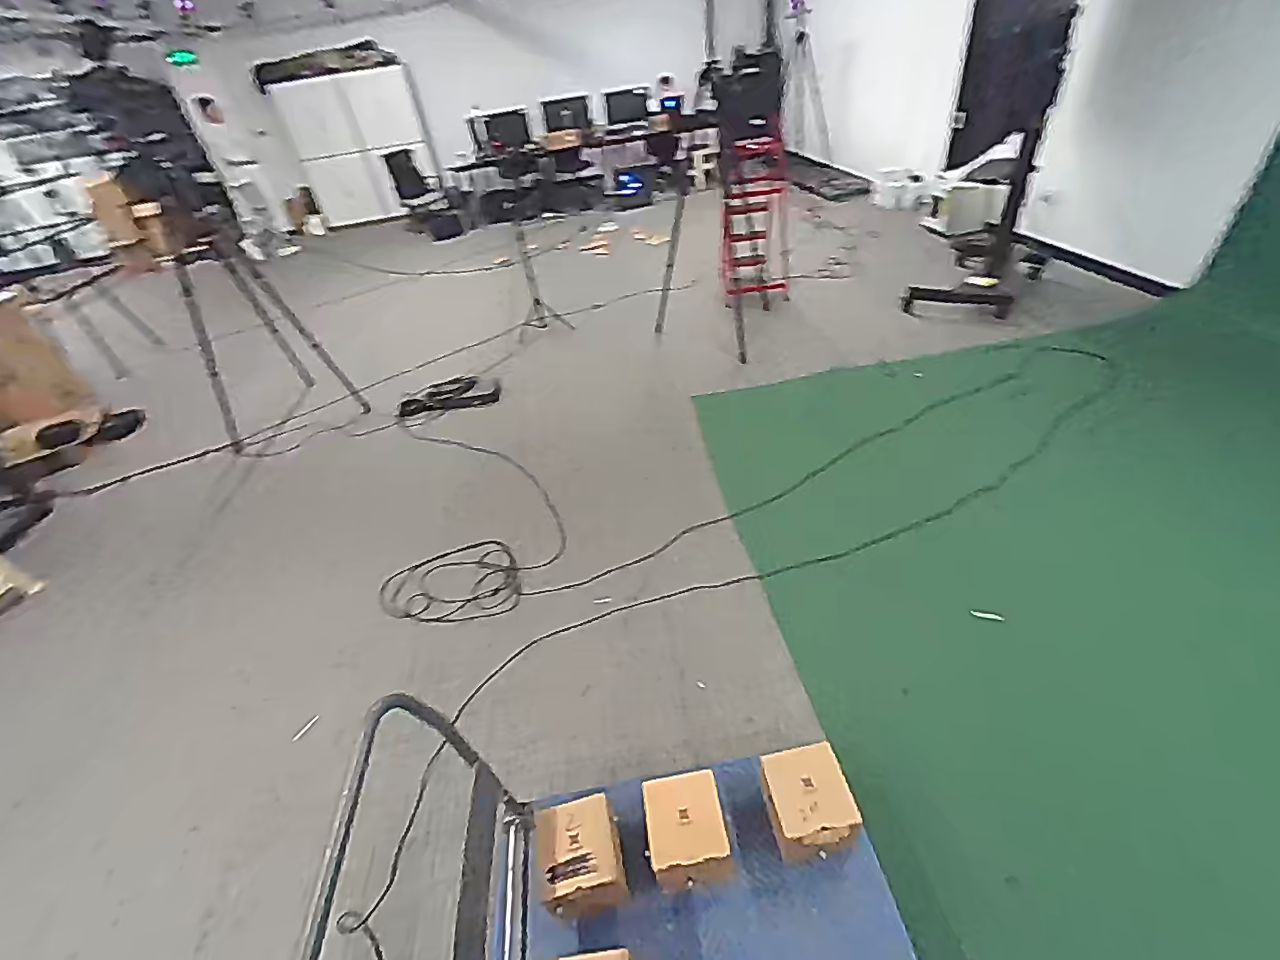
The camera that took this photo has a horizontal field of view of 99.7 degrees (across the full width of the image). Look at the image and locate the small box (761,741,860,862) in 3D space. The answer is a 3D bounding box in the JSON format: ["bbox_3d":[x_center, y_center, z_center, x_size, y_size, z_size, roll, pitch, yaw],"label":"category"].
[{"bbox_3d":[0.381,0.739,1.242,0.168,0.176,0.179,-12,39,-1],"label":"small box"}]

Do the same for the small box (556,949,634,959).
[{"bbox_3d":[-0.087,1.013,1.009,0.179,0.176,0.168,-9,39,0],"label":"small box"}]

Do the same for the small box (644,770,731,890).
[{"bbox_3d":[0.107,0.799,1.234,0.168,0.176,0.179,-11,40,-1],"label":"small box"}]
